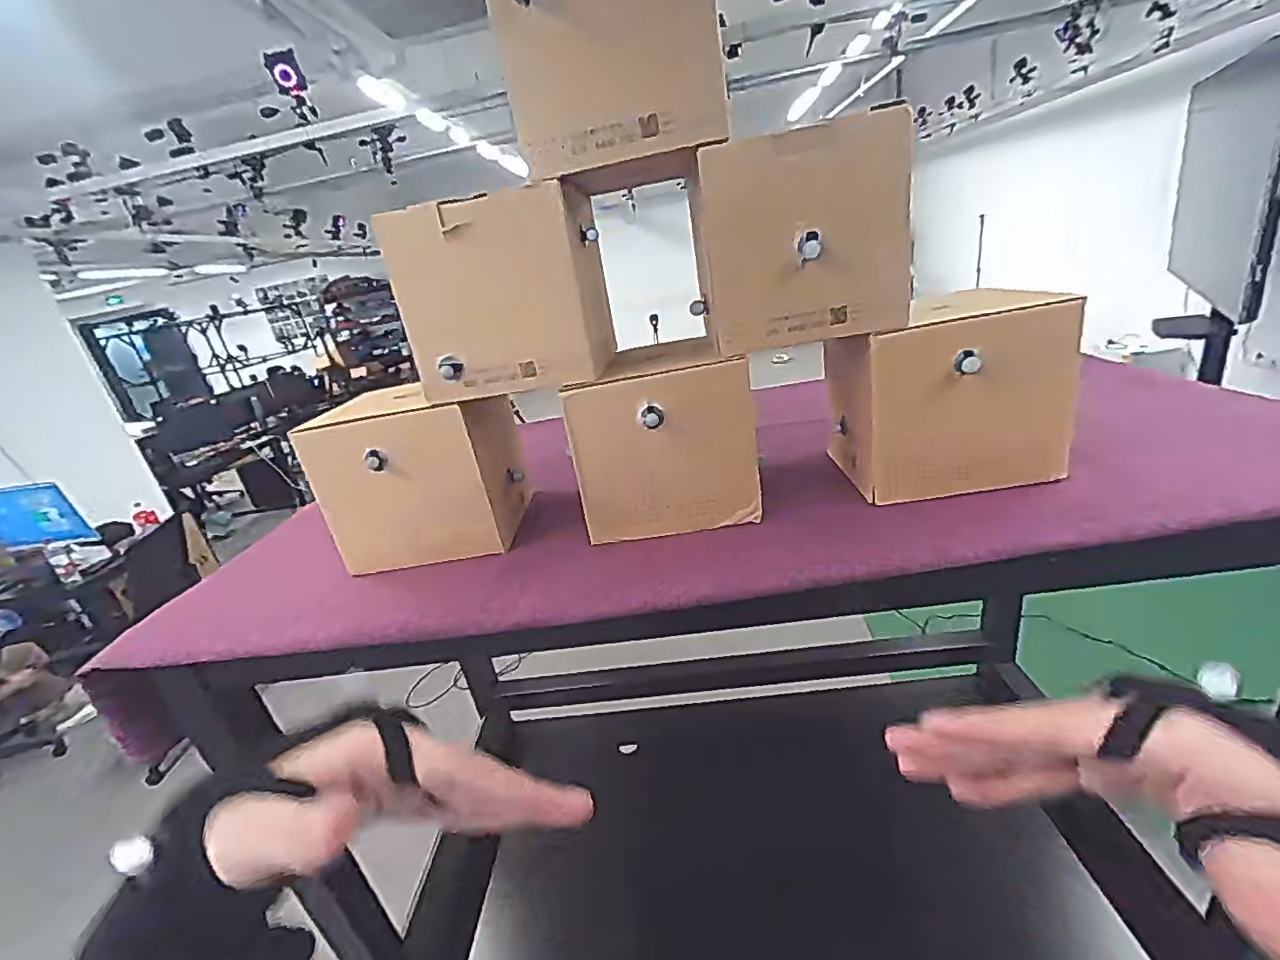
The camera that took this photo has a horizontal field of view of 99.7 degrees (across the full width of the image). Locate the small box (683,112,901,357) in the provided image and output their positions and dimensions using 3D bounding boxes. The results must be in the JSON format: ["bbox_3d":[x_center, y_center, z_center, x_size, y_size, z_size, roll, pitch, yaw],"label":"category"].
[{"bbox_3d":[0.137,-0.219,0.519,0.168,0.176,0.179,-9,22,6],"label":"small box"}]

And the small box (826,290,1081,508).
[{"bbox_3d":[0.298,-0.087,0.556,0.179,0.176,0.168,-10,21,7],"label":"small box"}]

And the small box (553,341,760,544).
[{"bbox_3d":[0.024,-0.044,0.583,0.179,0.176,0.168,-8,22,6],"label":"small box"}]

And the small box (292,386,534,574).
[{"bbox_3d":[-0.239,-0.008,0.620,0.179,0.176,0.168,-9,23,4],"label":"small box"}]

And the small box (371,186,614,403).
[{"bbox_3d":[-0.127,-0.180,0.549,0.168,0.176,0.179,-7,22,8],"label":"small box"}]
